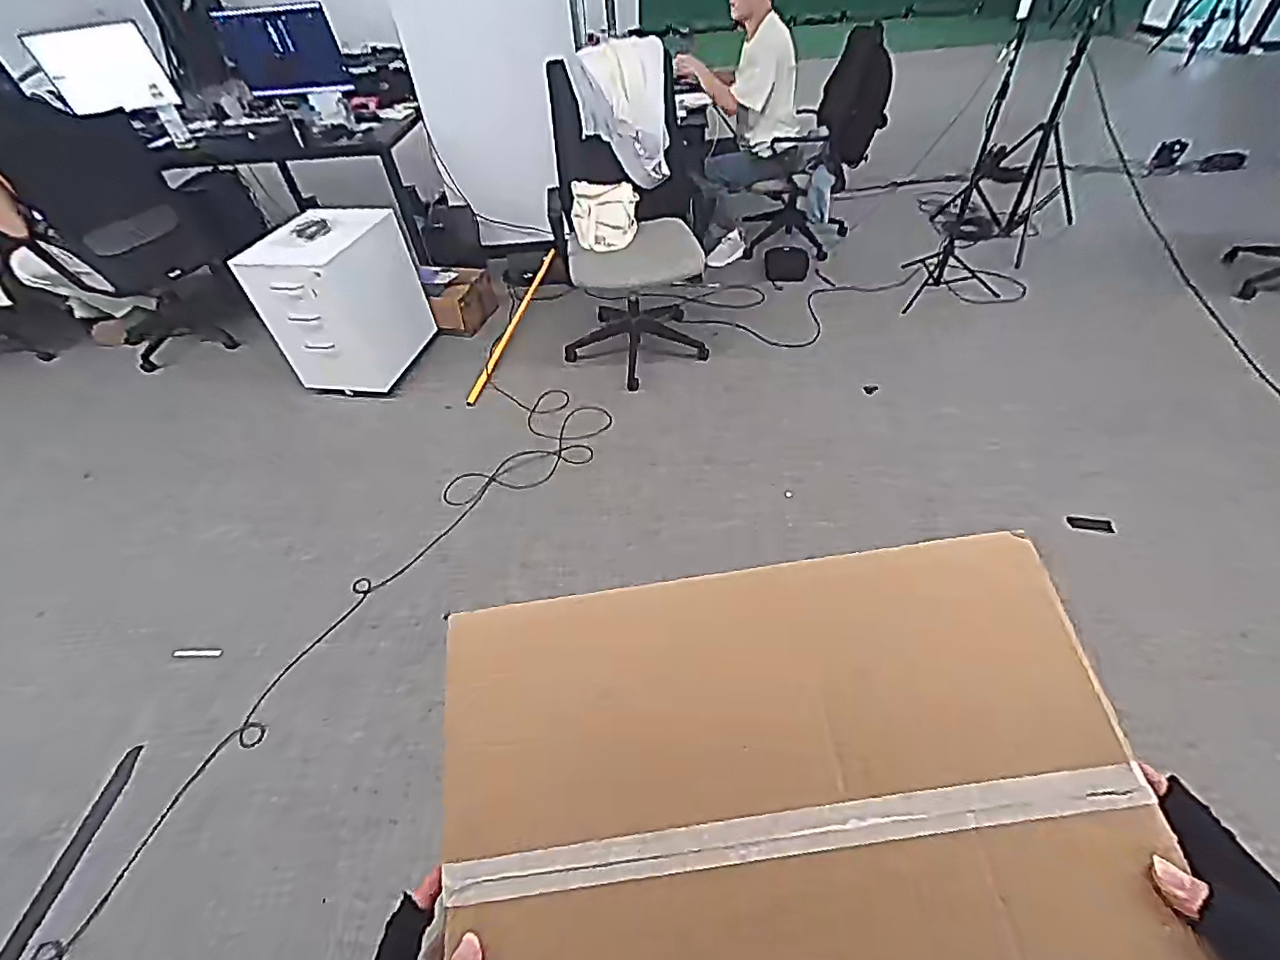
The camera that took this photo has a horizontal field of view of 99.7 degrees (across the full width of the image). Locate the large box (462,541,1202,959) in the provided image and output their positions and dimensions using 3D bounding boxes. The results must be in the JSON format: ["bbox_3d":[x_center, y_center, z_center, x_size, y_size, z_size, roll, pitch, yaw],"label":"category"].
[{"bbox_3d":[0.099,0.274,0.456,0.408,0.320,0.320,-9,66,1],"label":"large box"}]
